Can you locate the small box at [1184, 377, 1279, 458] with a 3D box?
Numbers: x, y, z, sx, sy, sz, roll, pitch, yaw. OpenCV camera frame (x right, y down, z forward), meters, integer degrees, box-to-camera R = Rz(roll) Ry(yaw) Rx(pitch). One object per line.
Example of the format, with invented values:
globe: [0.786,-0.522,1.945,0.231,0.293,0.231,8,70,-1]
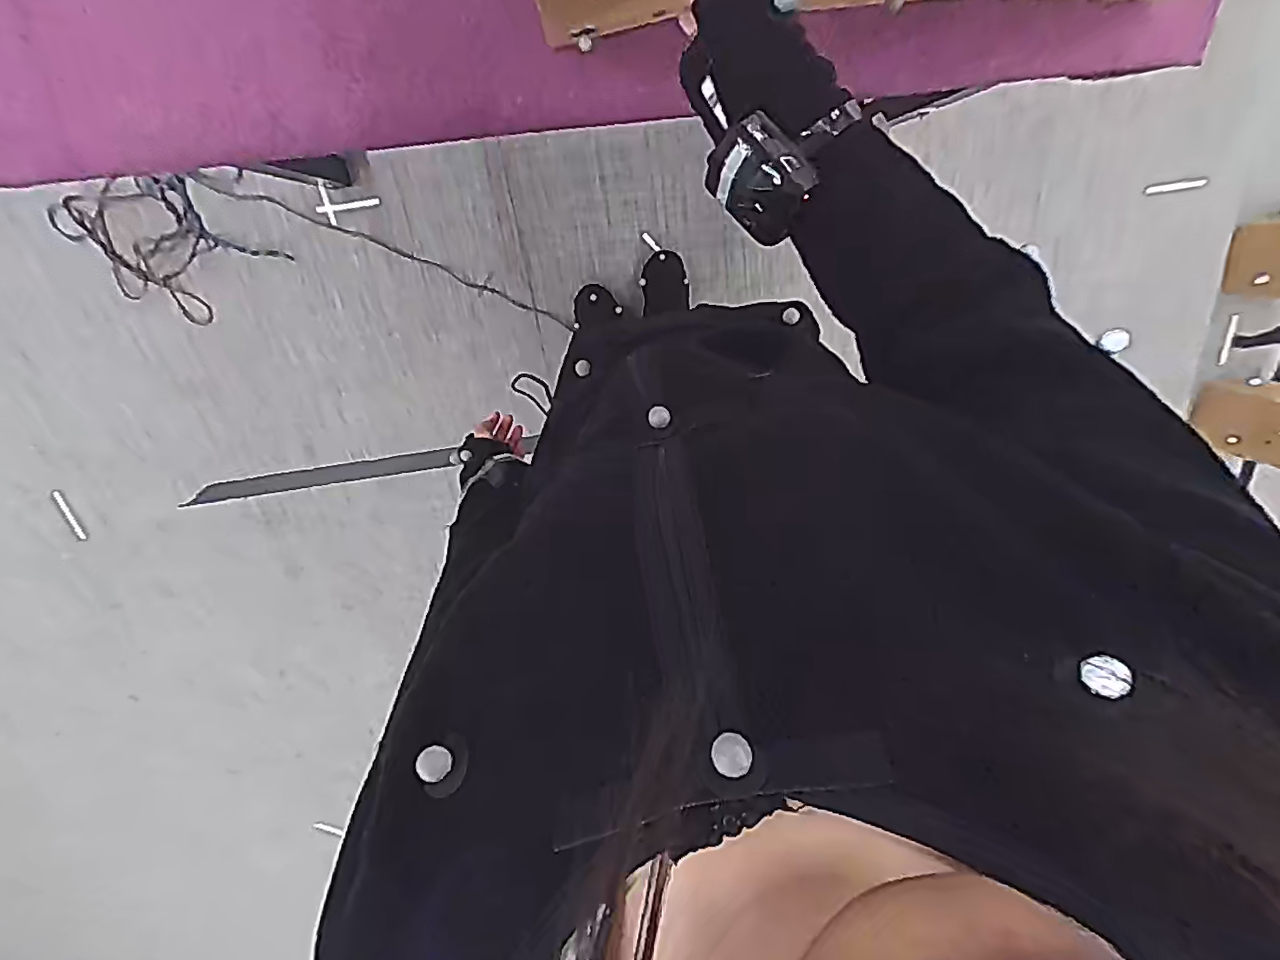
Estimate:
small box: [1.698,-0.178,1.515,0.168,0.176,0.179,-6,115,-4]

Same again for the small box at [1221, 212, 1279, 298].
small box: [1.612,-0.563,1.338,0.168,0.176,0.179,-15,113,-1]

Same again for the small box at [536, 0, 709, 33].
small box: [-0.017,-0.460,0.390,0.168,0.176,0.179,-13,116,2]

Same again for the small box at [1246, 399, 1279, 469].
small box: [1.728,-0.115,1.367,0.179,0.176,0.168,-9,115,-2]
